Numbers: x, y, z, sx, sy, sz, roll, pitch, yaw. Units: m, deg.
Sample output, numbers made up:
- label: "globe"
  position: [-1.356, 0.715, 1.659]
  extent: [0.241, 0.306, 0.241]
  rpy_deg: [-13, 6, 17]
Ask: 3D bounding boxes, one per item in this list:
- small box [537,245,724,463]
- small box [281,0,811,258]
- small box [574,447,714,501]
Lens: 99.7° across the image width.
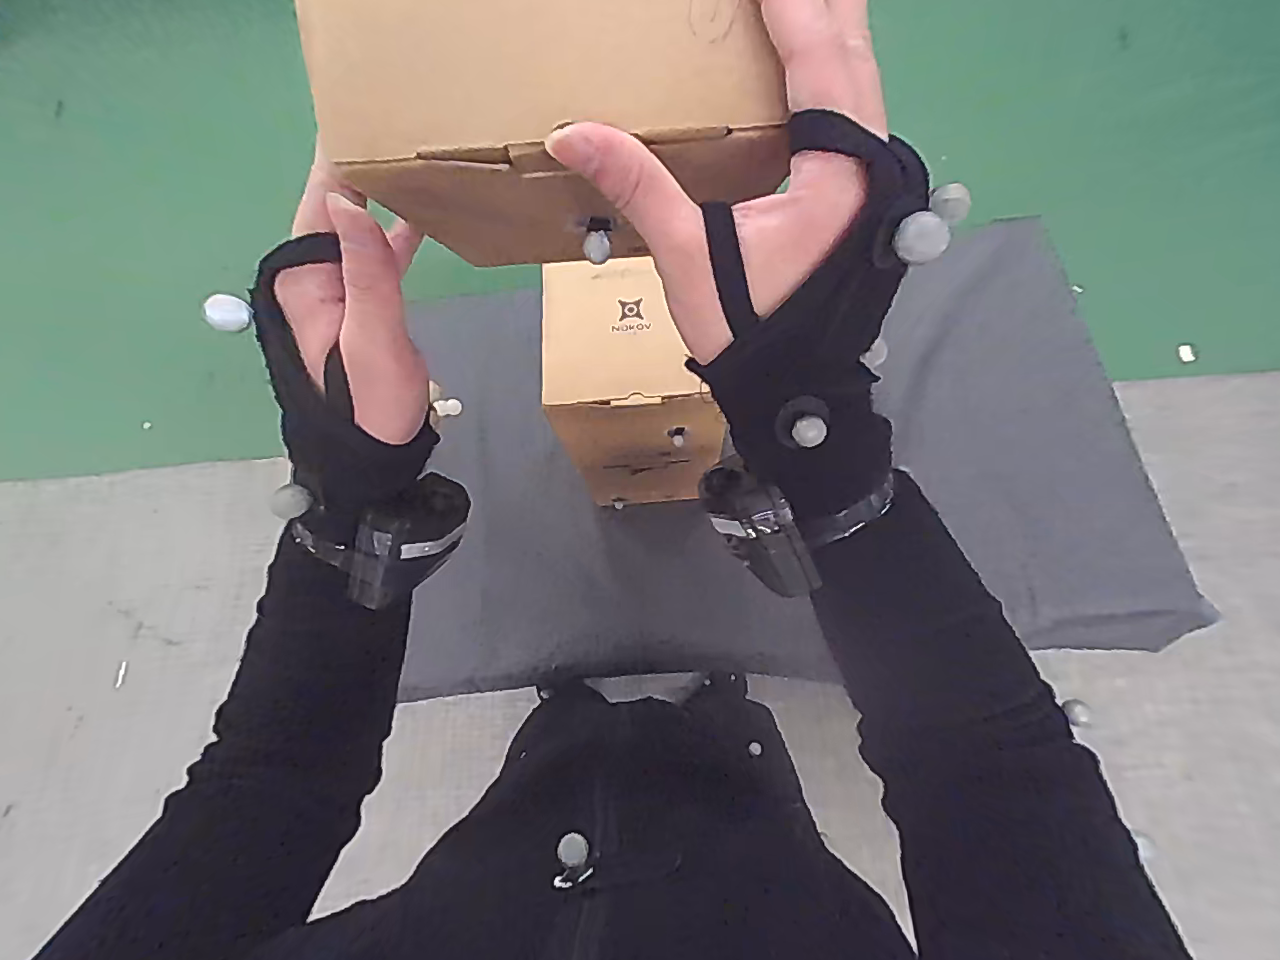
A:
- label: "small box"
  position: [-0.007, -0.123, 0.562]
  extent: [0.168, 0.176, 0.179]
  rpy_deg: [-4, 72, 2]
- label: "small box"
  position: [-0.031, -0.203, 0.237]
  extent: [0.168, 0.176, 0.179]
  rpy_deg: [-4, 101, 0]
- label: "small box"
  position: [0.007, -0.074, 0.715]
  extent: [0.168, 0.176, 0.179]
  rpy_deg: [-5, 72, 3]
